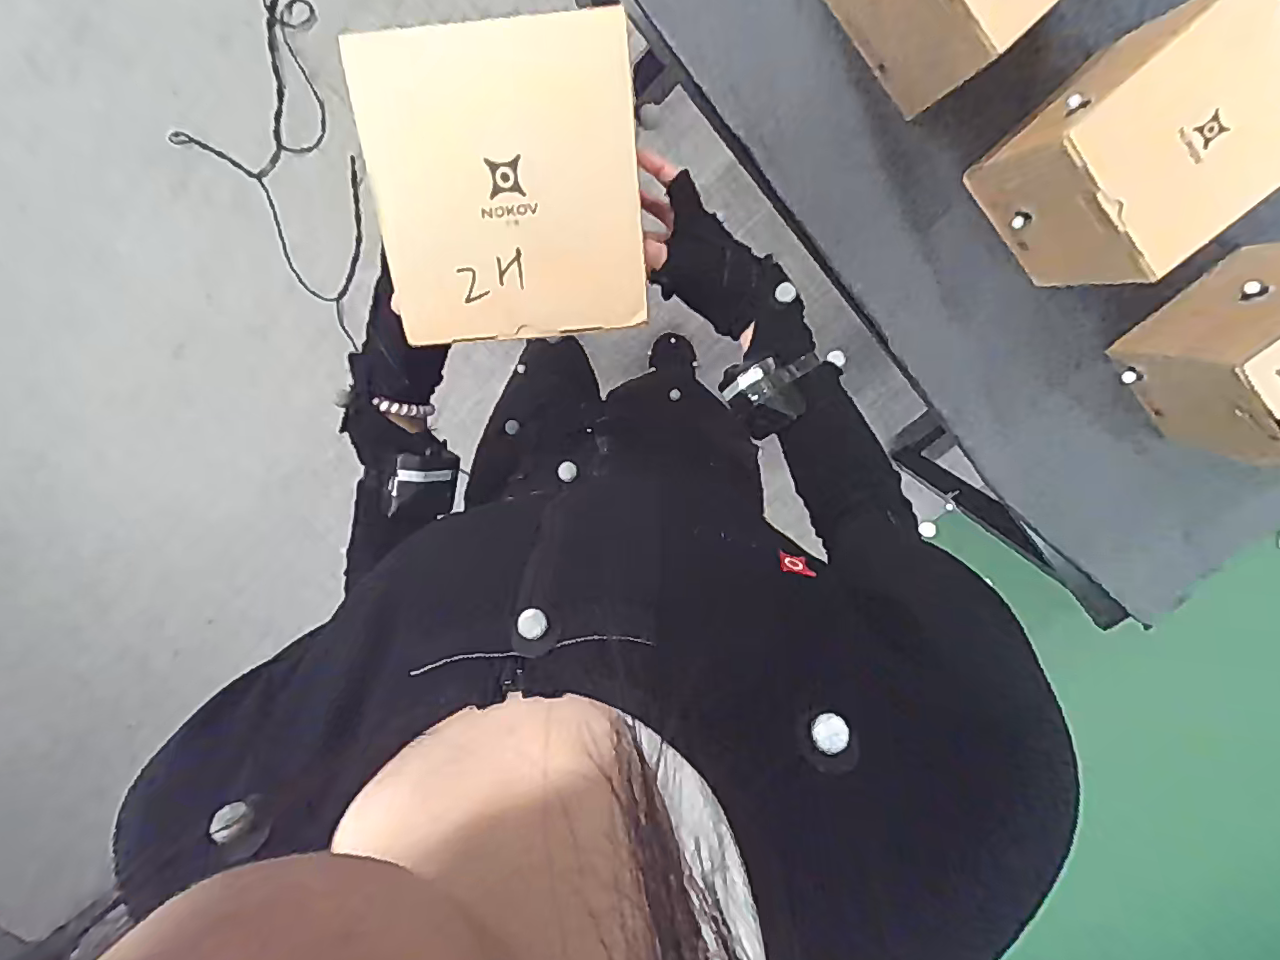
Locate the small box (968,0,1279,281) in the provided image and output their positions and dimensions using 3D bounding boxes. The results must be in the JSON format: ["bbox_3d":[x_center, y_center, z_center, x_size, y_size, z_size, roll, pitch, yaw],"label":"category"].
[{"bbox_3d":[0.481,-0.322,0.537,0.179,0.176,0.168,-42,103,15],"label":"small box"}]

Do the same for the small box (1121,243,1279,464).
[{"bbox_3d":[0.689,-0.138,0.590,0.179,0.176,0.168,-43,102,14],"label":"small box"}]

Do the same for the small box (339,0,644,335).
[{"bbox_3d":[-0.085,-0.210,0.408,0.168,0.176,0.179,-4,110,2],"label":"small box"}]
